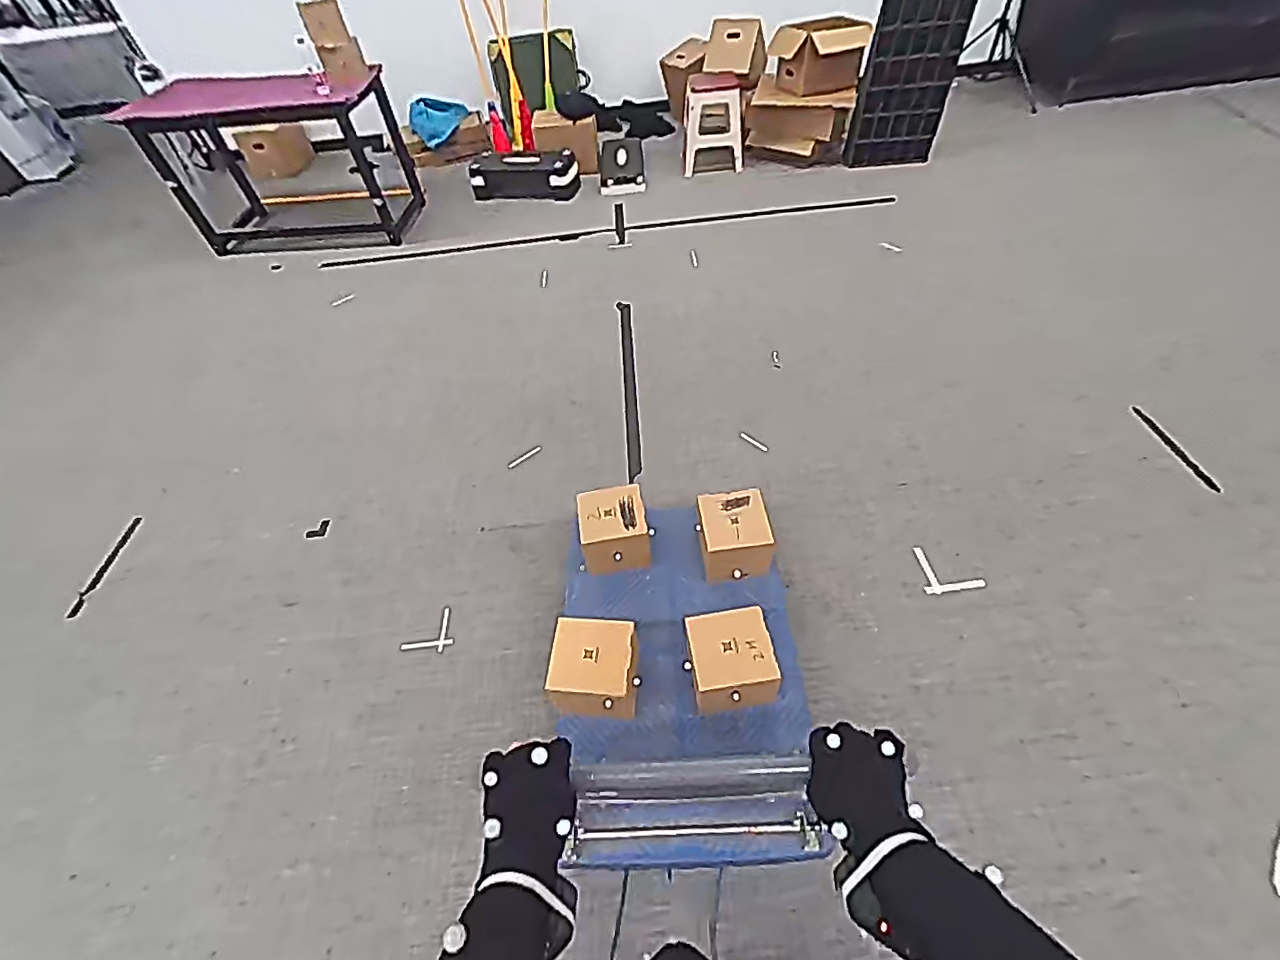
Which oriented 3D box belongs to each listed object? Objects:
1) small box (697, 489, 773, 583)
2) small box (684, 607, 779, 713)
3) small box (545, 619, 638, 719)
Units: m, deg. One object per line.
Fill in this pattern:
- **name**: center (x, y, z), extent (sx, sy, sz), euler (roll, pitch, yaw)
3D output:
- **small box**: center (0.243, 0.148, 1.427), extent (0.168, 0.176, 0.179), euler (-8, 51, 1)
- **small box**: center (0.201, 0.409, 1.218), extent (0.179, 0.176, 0.168), euler (-9, 51, -1)
- **small box**: center (-0.102, 0.433, 1.233), extent (0.179, 0.176, 0.168), euler (1, 50, 6)
